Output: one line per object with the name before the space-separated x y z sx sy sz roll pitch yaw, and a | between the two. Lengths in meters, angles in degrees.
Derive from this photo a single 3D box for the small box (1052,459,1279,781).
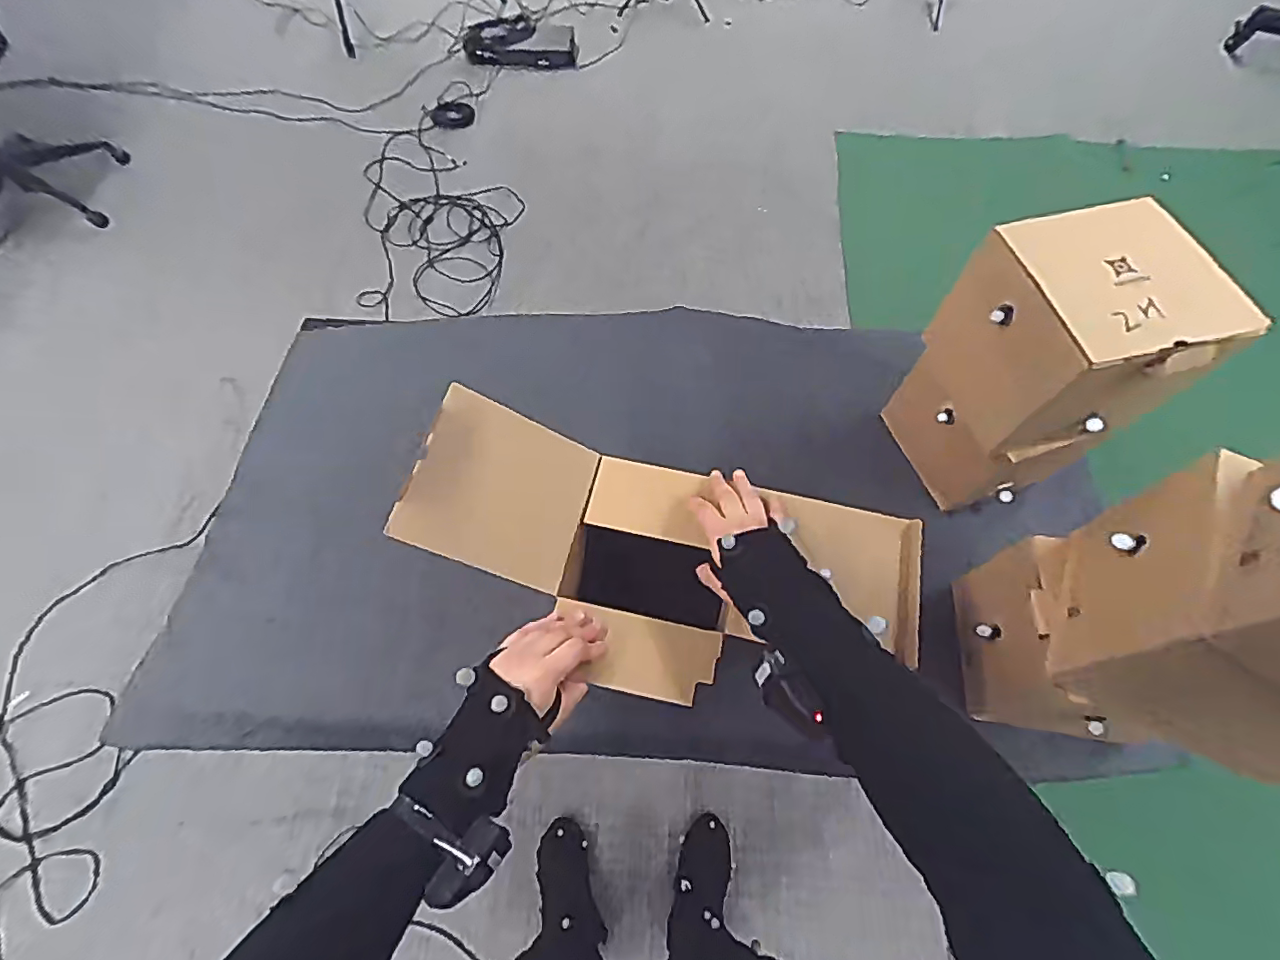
small box | 0.478 0.120 0.429 0.179 0.176 0.168 27 65 14

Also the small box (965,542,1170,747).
small box | 0.477 0.183 0.580 0.179 0.176 0.168 7 62 5

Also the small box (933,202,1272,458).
small box | 0.444 -0.147 0.562 0.168 0.176 0.179 -12 66 -2

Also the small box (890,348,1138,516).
small box | 0.464 -0.077 0.710 0.168 0.176 0.179 -17 66 -5
